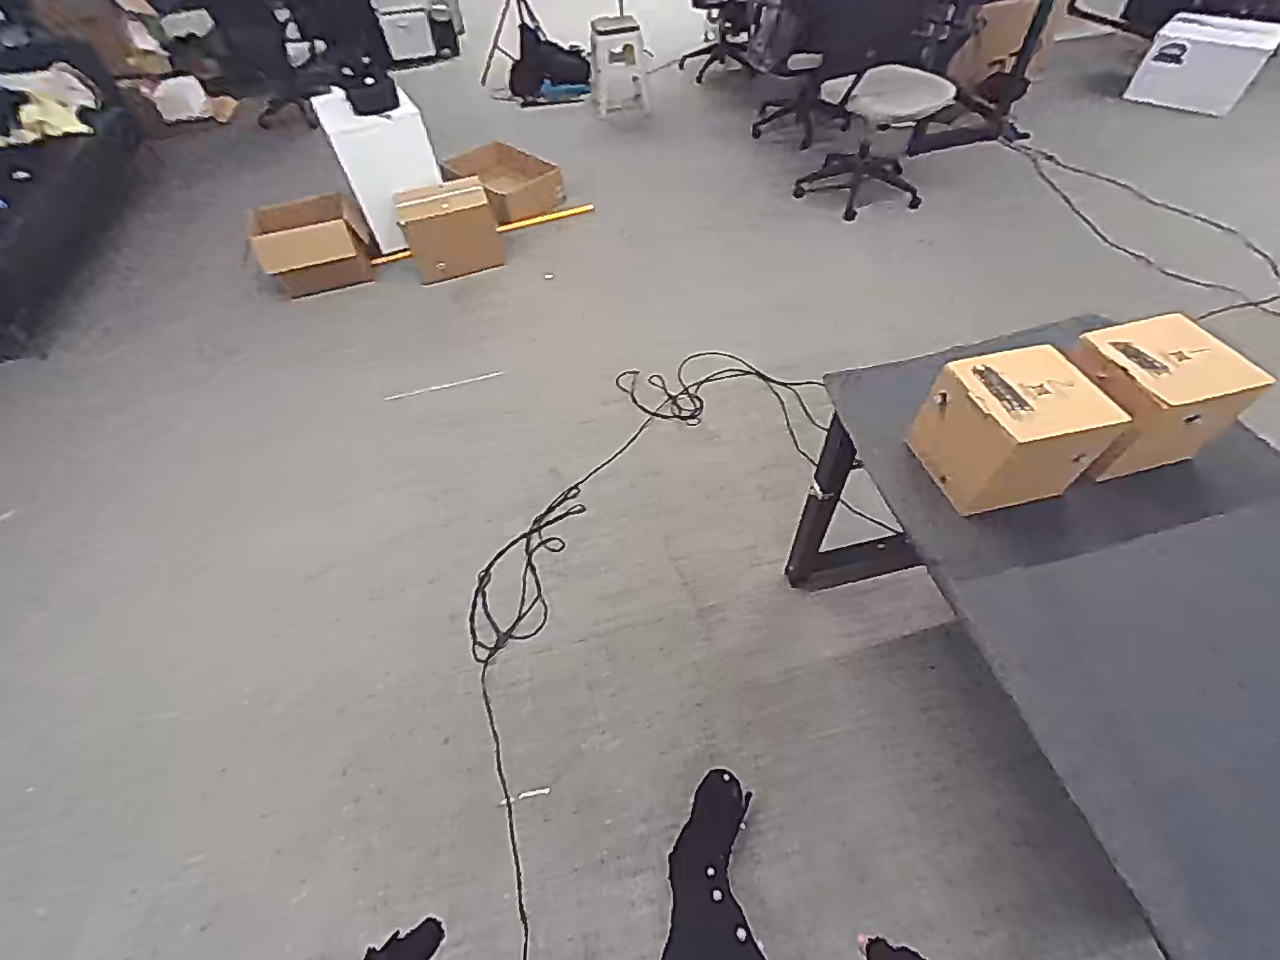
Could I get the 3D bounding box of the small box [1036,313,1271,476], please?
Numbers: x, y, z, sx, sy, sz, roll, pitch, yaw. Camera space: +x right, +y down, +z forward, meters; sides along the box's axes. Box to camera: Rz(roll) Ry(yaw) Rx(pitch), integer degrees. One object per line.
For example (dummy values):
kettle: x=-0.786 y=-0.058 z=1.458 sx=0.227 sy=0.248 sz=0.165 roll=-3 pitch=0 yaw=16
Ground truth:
small box: x=0.767 y=-0.127 z=0.840 sx=0.179 sy=0.176 sz=0.168 roll=-13 pitch=53 yaw=-6
